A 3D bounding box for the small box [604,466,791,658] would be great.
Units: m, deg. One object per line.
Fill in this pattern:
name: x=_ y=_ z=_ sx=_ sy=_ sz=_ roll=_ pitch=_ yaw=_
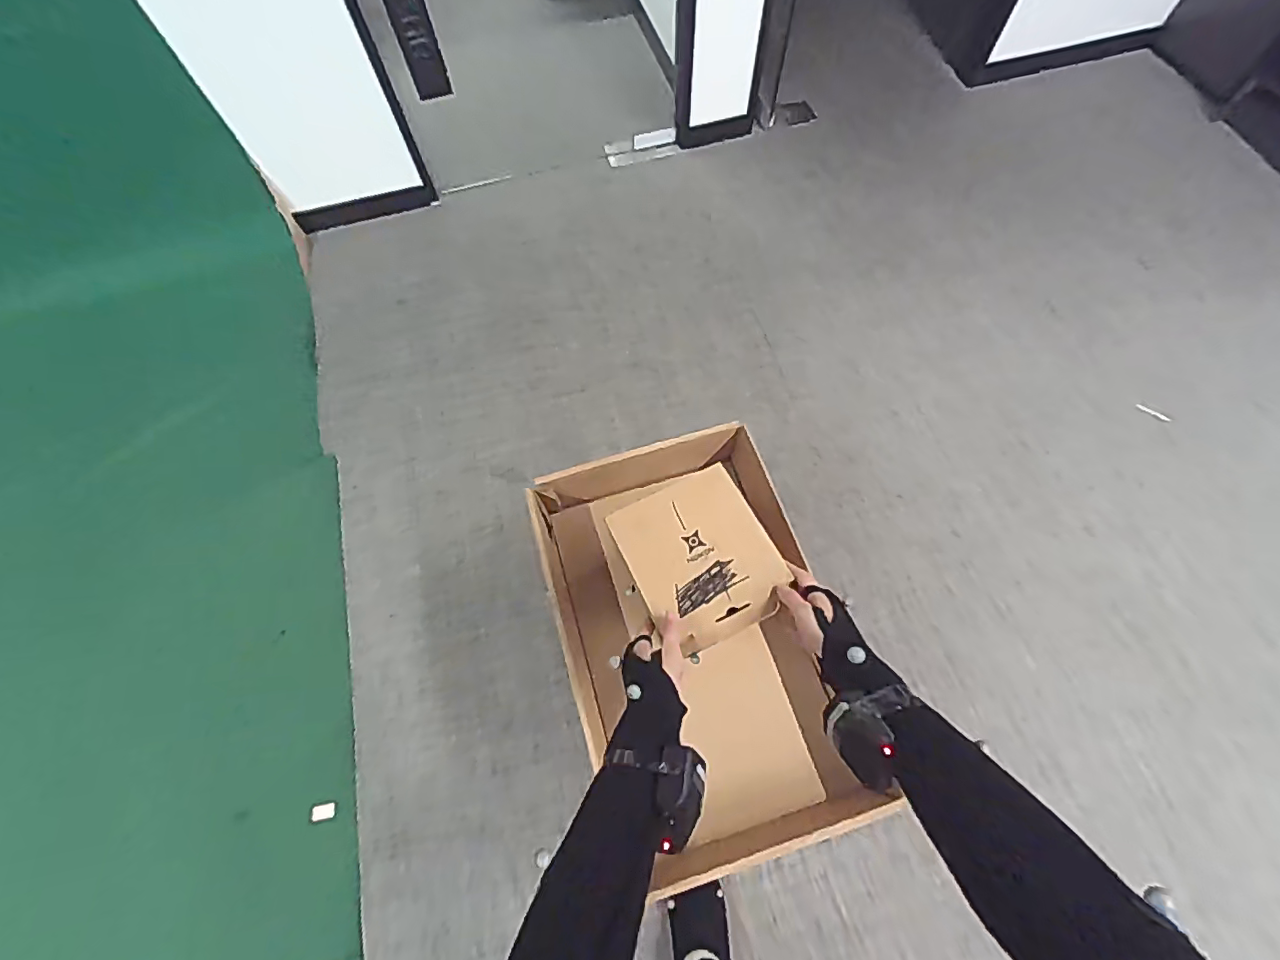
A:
small box: x=0.070 y=0.117 z=0.706 sx=0.168 sy=0.176 sz=0.179 roll=-25 pitch=64 yaw=-8
